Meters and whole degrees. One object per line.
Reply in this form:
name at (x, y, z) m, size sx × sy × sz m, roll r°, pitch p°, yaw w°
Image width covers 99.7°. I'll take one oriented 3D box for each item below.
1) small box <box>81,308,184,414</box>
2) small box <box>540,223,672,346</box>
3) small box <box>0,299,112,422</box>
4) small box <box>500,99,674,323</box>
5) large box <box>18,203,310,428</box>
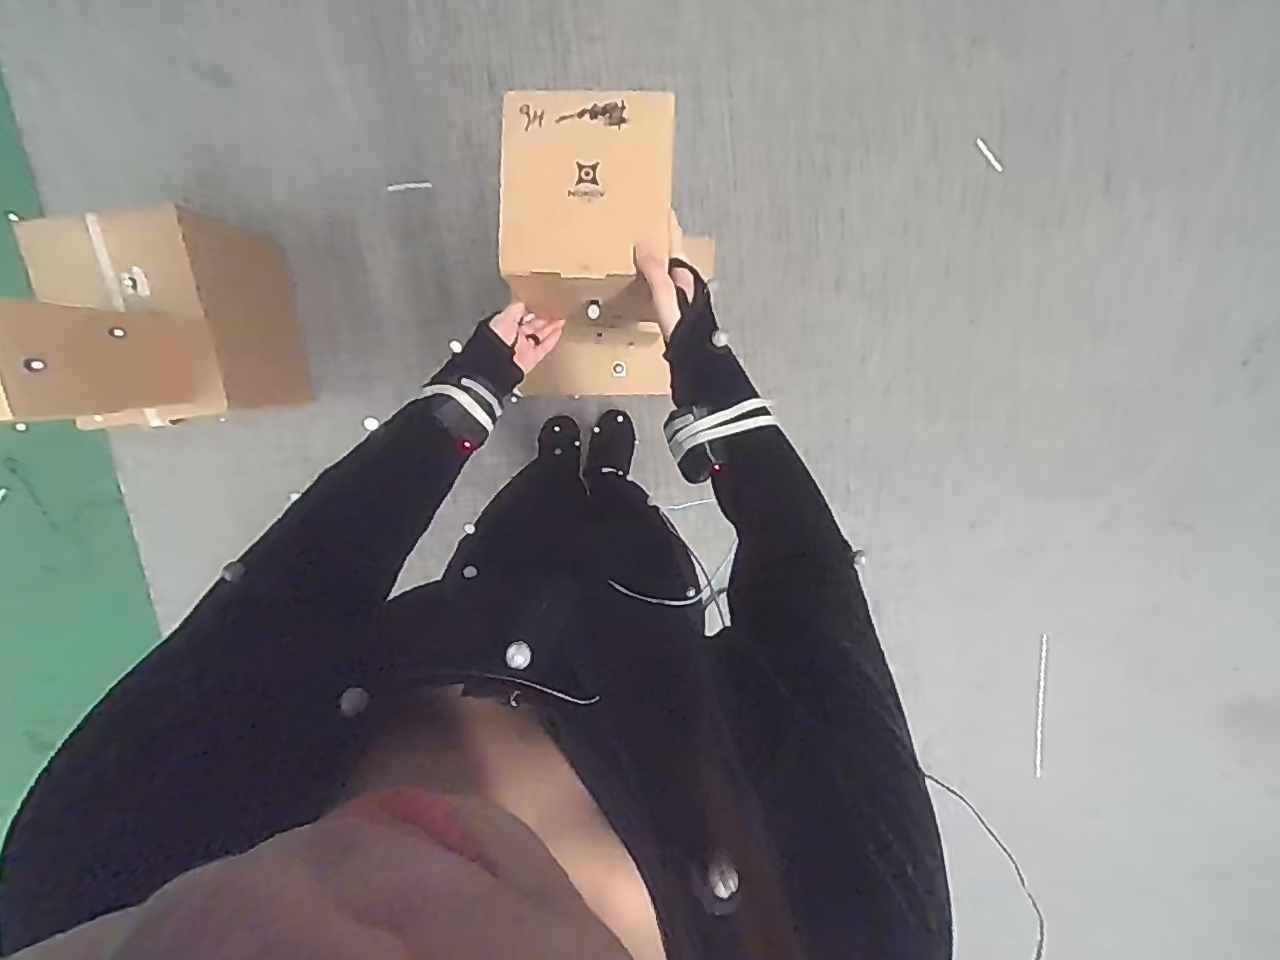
small box at (-0.990, -0.212, 0.990) m, size 0.168 × 0.176 × 0.179 m, roll -4°, pitch 100°, yaw -1°
small box at (-0.051, -0.301, 0.833) m, size 0.179 × 0.176 × 0.168 m, roll 4°, pitch 99°, yaw -2°
small box at (-0.977, -0.179, 0.829) m, size 0.168 × 0.176 × 0.179 m, roll -5°, pitch 101°, yaw -1°
small box at (-0.049, -0.281, 0.602) m, size 0.168 × 0.176 × 0.179 m, roll 3°, pitch 92°, yaw 2°
large box at (-1.017, -0.343, 1.212) m, size 0.320 × 0.320 × 0.408 m, roll -6°, pitch 100°, yaw -1°
